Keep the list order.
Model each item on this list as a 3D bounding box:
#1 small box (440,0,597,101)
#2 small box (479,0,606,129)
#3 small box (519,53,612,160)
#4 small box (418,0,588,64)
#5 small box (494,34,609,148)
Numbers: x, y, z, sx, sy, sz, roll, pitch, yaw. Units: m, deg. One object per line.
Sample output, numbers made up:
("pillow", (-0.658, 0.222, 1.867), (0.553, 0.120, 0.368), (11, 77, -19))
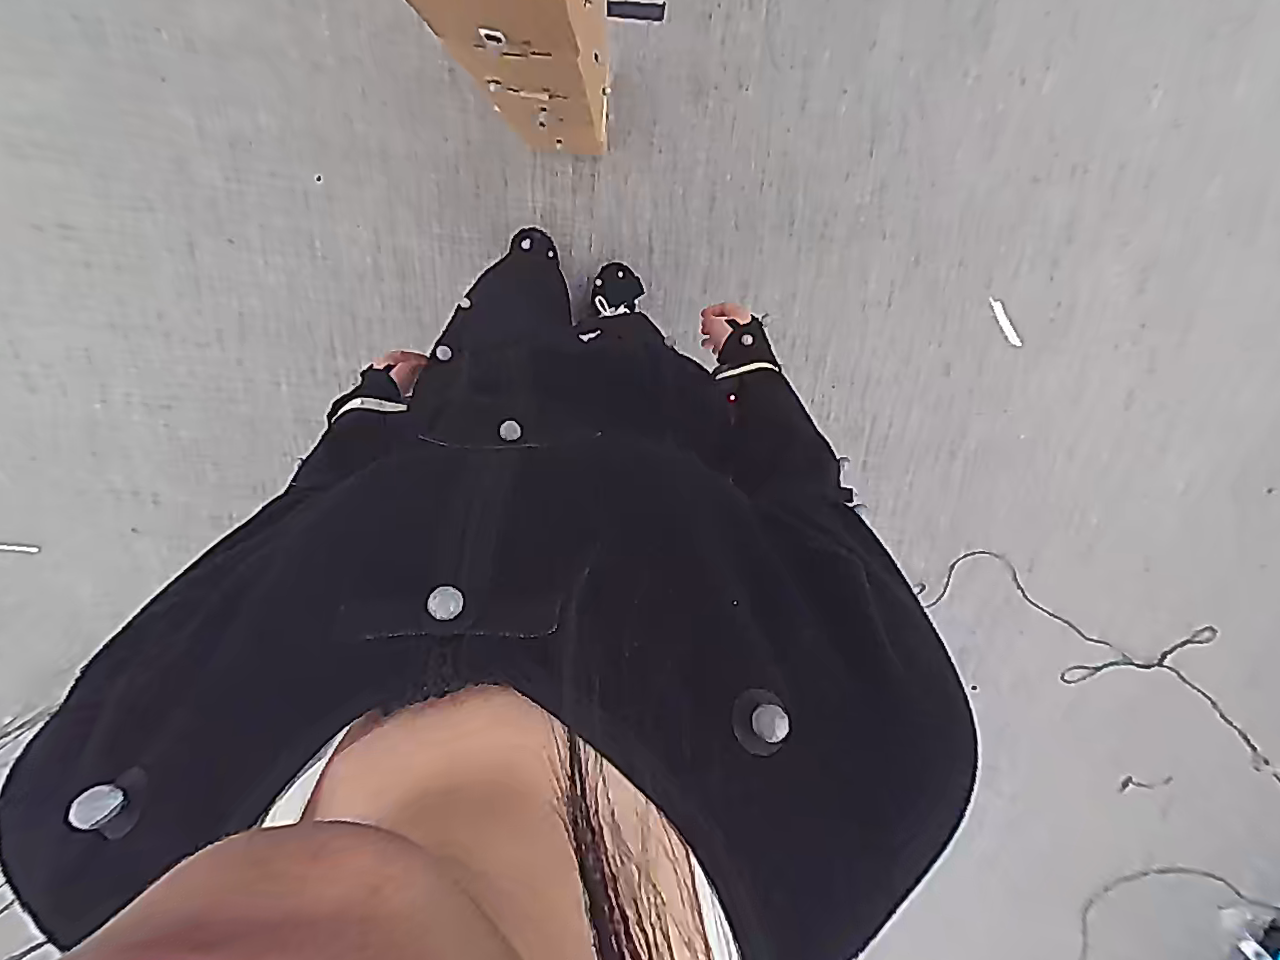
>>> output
("small box", (-0.143, -0.605, 0.677), (0.168, 0.176, 0.179), (6, 111, -3))
("small box", (-0.143, -0.663, 0.831), (0.168, 0.176, 0.179), (7, 112, -4))
("small box", (-0.151, -0.785, 1.134), (0.179, 0.176, 0.168), (5, 112, -3))
("small box", (-0.137, -0.545, 0.527), (0.168, 0.176, 0.179), (4, 113, -2))
("small box", (-0.155, -0.722, 0.983), (0.179, 0.176, 0.168), (7, 112, -4))
